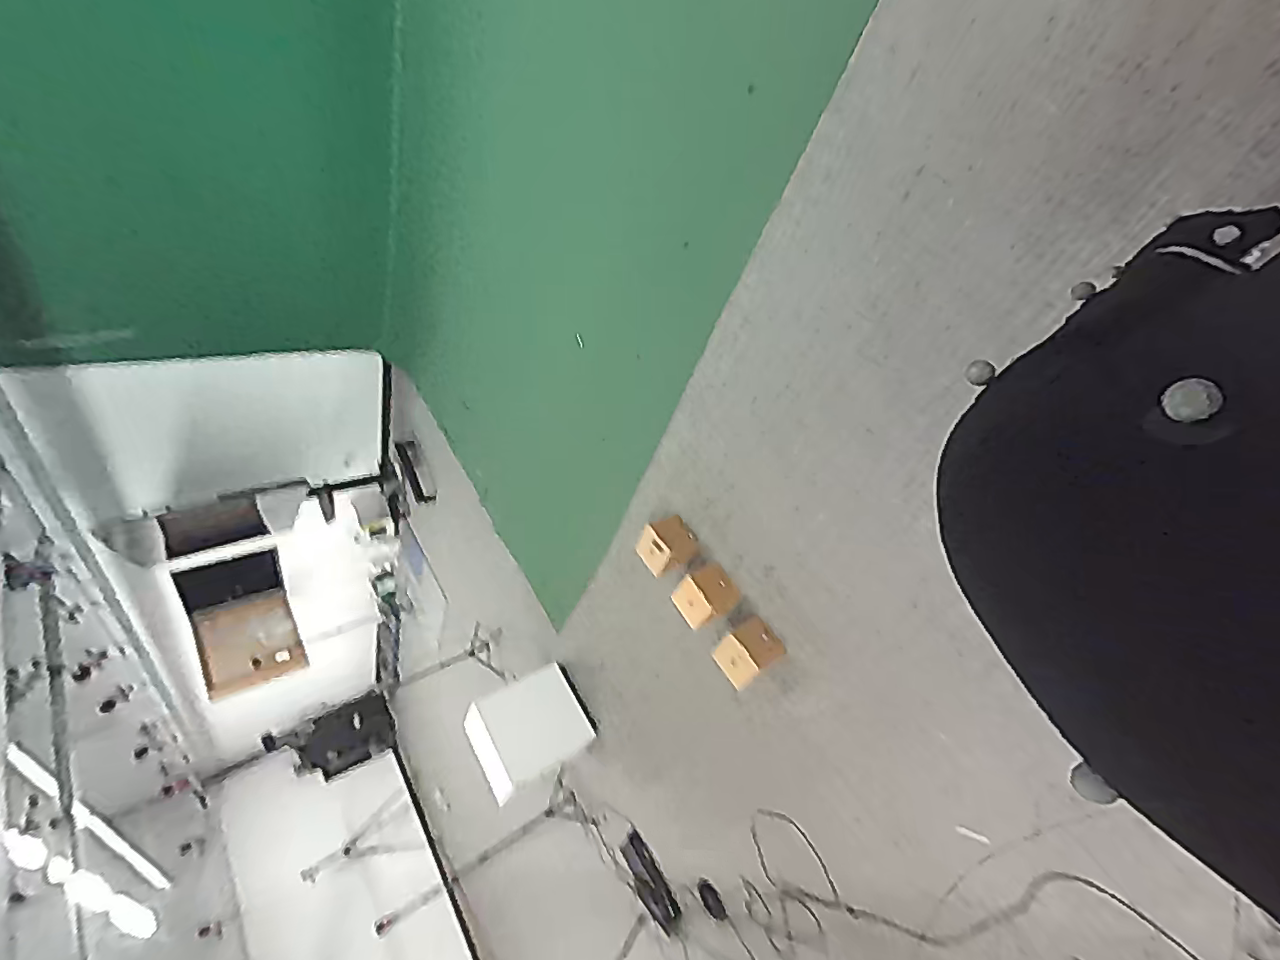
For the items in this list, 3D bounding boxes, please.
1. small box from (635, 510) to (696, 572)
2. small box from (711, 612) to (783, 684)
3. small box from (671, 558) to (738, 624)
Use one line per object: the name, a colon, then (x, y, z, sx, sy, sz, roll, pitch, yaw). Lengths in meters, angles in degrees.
small box: (0.113, 0.252, 2.282, 0.168, 0.176, 0.179, 51, 137, 28)
small box: (0.408, 0.631, 2.040, 0.168, 0.176, 0.179, 51, 136, 26)
small box: (0.262, 0.442, 2.163, 0.168, 0.176, 0.179, 53, 137, 26)
